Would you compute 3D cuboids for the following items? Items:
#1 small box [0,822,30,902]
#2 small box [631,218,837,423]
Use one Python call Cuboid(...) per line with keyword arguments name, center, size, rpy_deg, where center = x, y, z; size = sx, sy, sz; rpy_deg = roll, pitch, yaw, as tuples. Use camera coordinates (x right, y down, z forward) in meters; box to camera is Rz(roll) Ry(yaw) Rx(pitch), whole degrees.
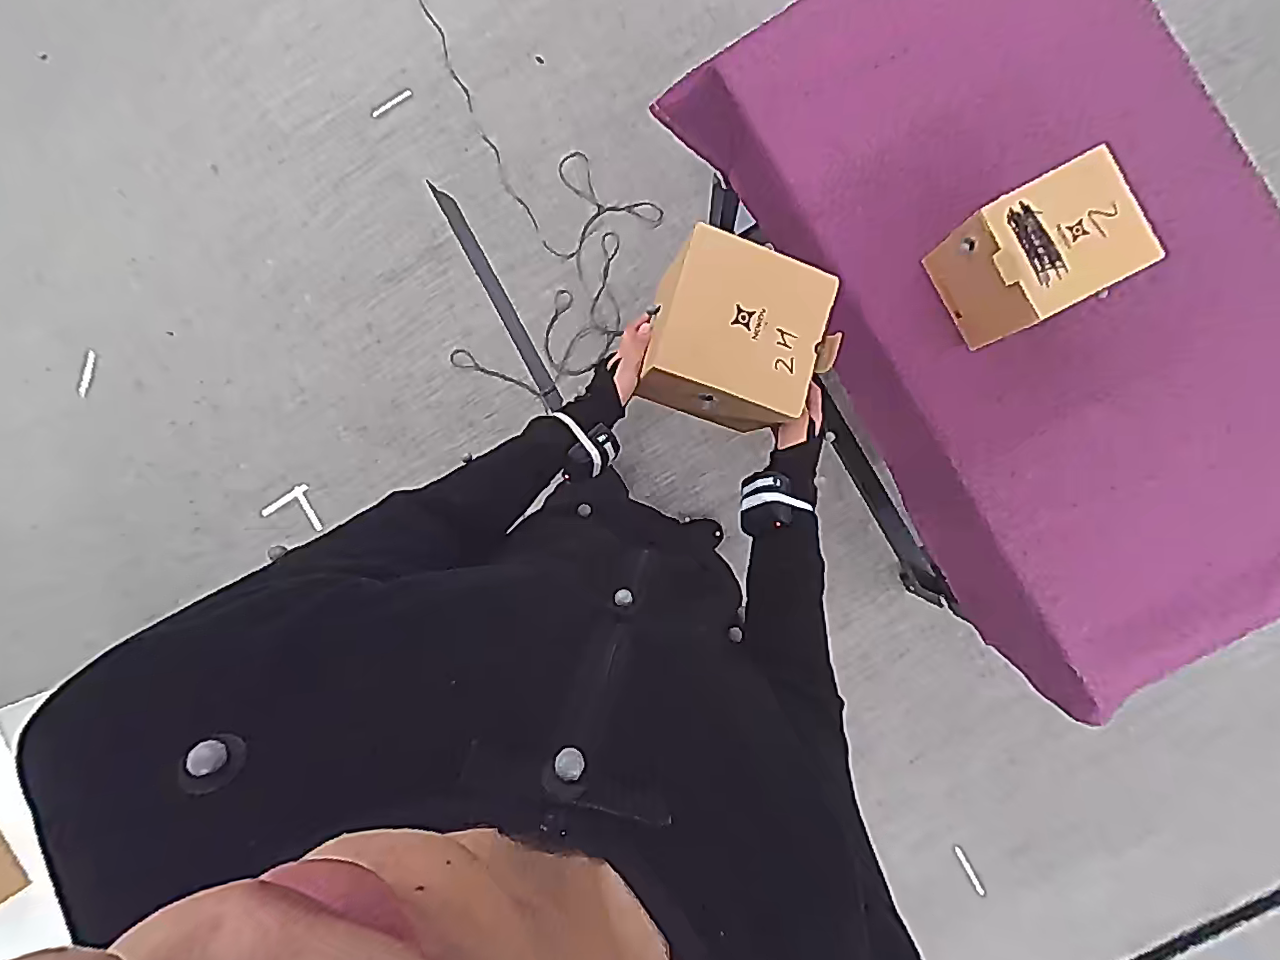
Cuboid(name="small box", center=(-1.407, 0.824, 1.080), size=(0.168, 0.176, 0.179), rpy_deg=(-34, 88, 4))
Cuboid(name="small box", center=(0.100, -0.175, 0.656), size=(0.179, 0.176, 0.168), rpy_deg=(18, 87, -10))
